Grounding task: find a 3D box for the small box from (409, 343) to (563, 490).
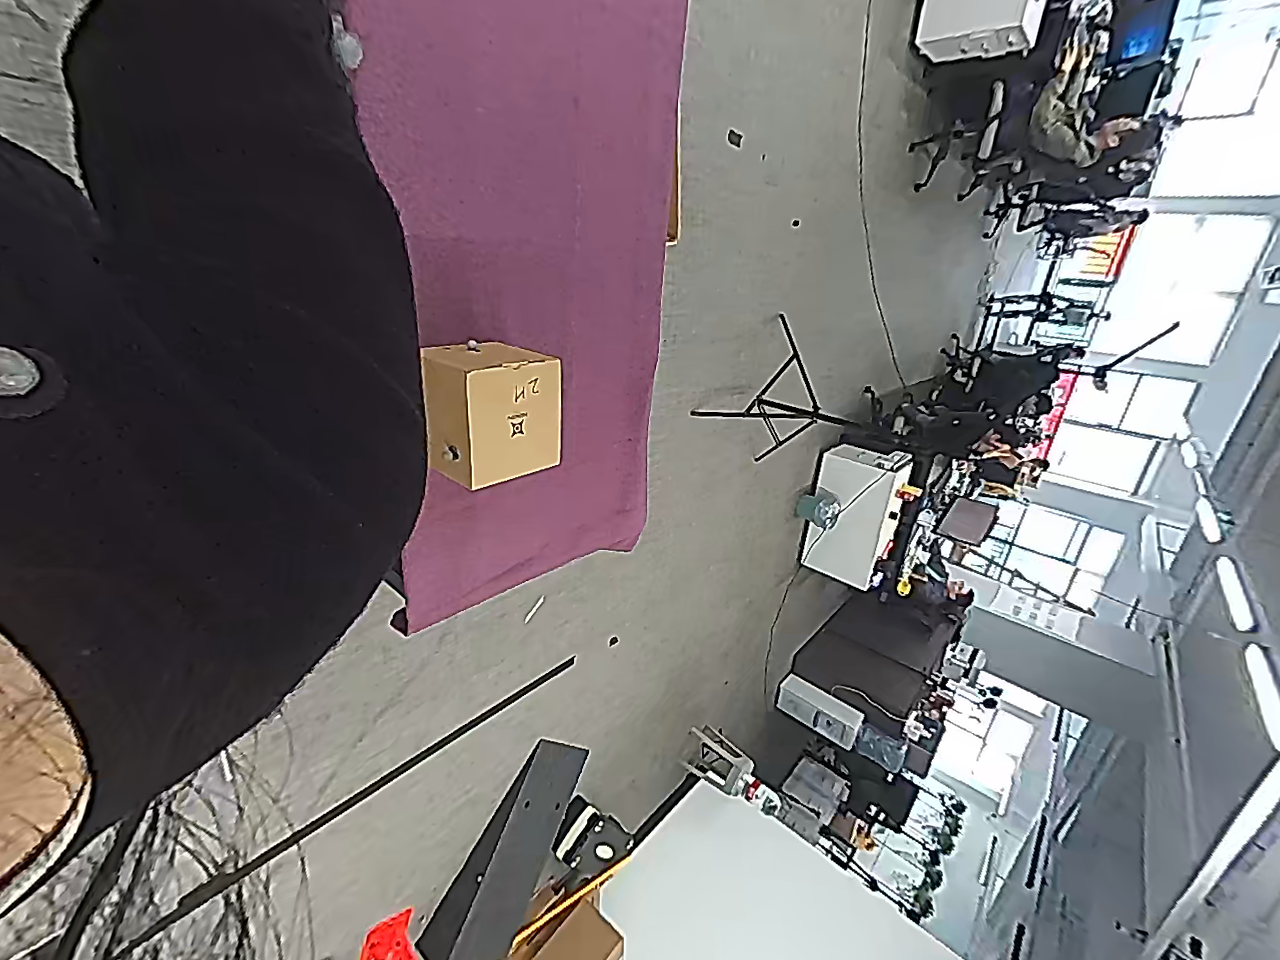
[{"bbox_3d":[-0.238,-0.108,0.842,0.168,0.176,0.179,-21,124,-46],"label":"small box"}]
